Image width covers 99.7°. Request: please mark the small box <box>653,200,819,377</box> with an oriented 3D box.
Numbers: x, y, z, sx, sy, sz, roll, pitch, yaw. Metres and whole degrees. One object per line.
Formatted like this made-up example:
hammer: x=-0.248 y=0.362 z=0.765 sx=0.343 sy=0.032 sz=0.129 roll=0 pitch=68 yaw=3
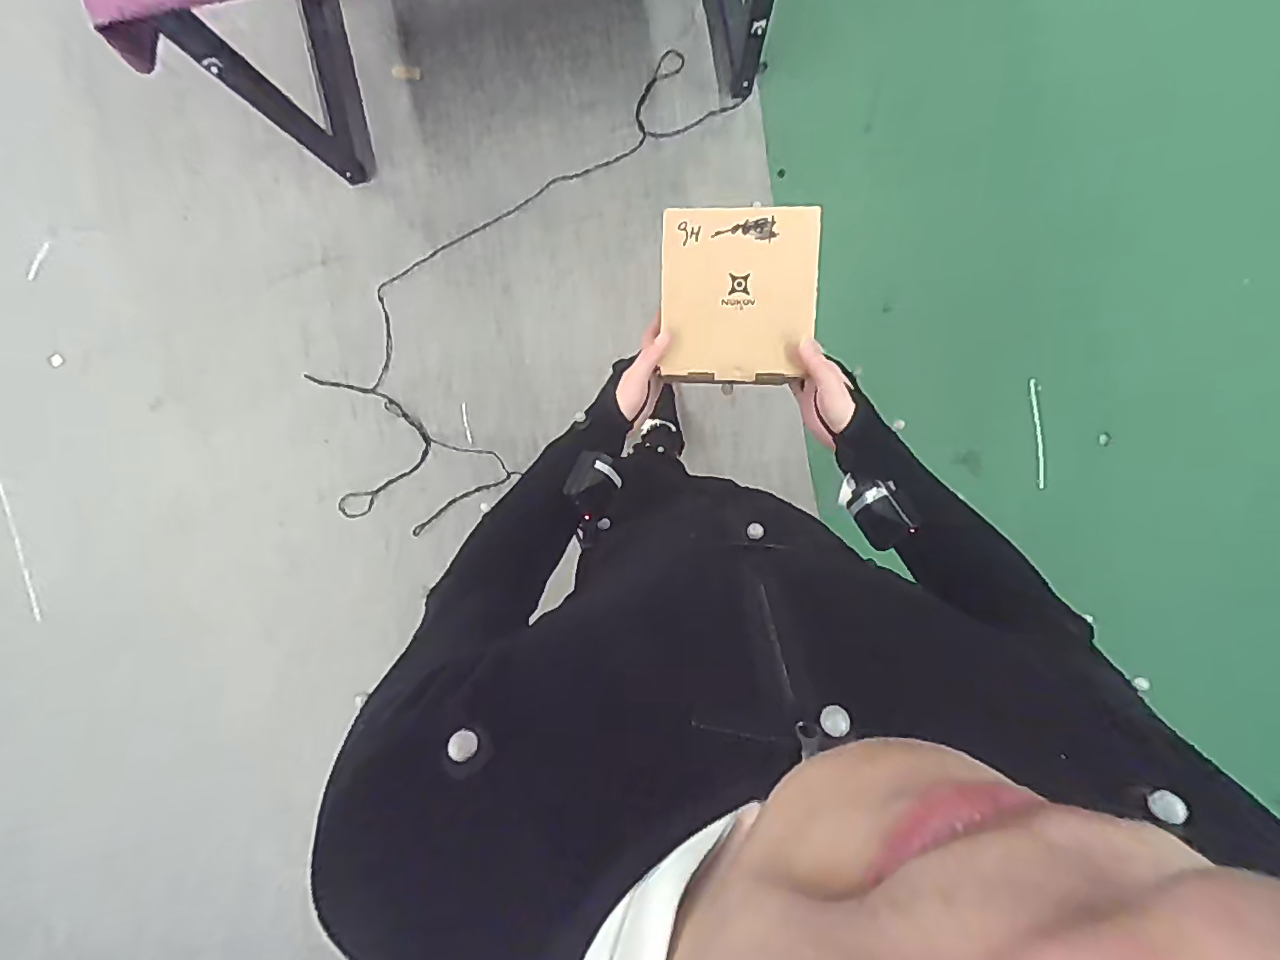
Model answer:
small box: x=0.107 y=-0.216 z=0.650 sx=0.168 sy=0.176 sz=0.179 roll=2 pitch=98 yaw=5
